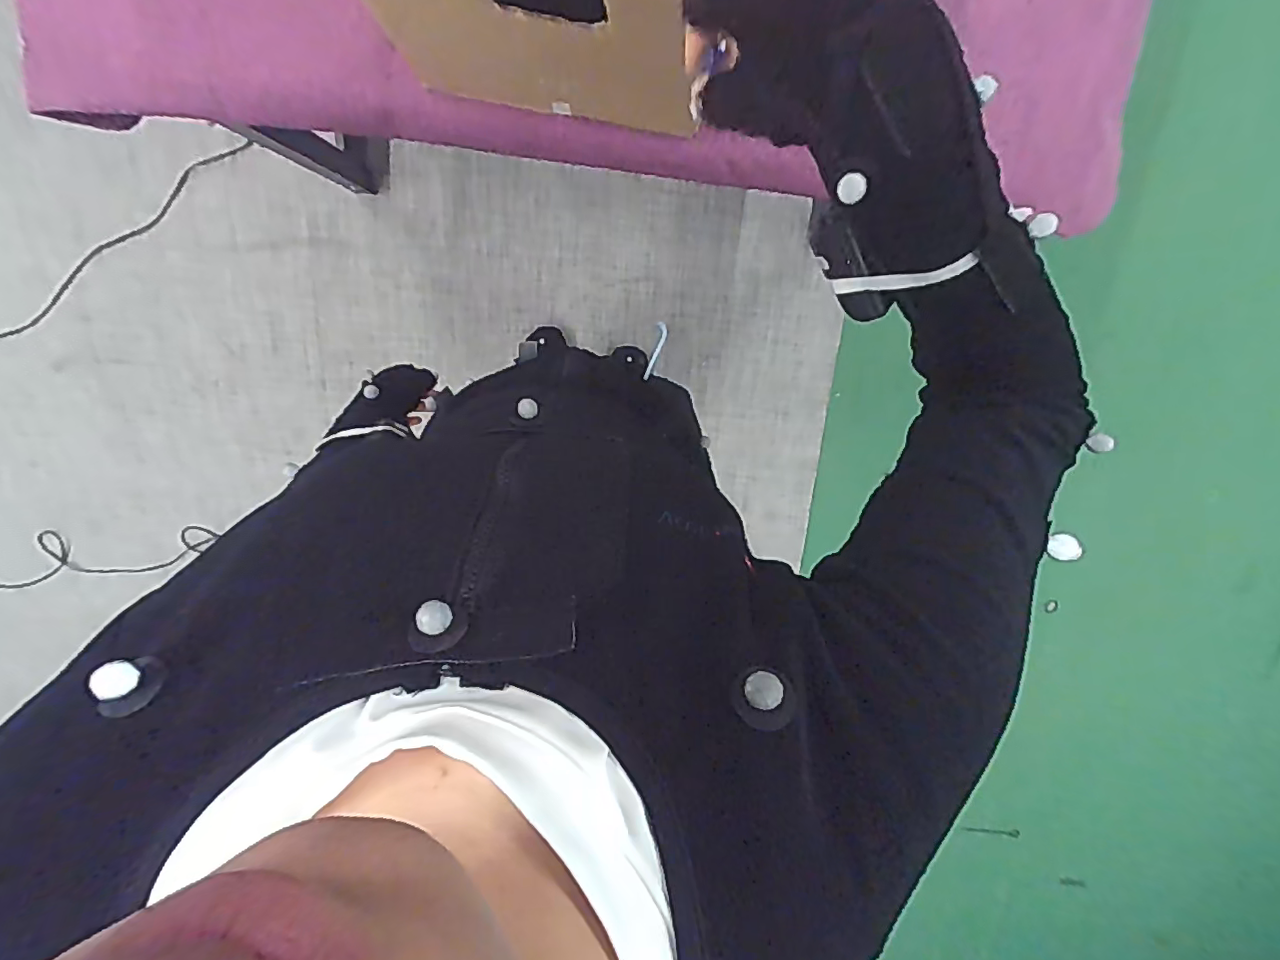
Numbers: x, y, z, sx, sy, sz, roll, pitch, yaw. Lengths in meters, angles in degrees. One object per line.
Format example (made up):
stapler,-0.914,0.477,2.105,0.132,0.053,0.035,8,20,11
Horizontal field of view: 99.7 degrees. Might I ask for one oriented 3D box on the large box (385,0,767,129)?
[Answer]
large box,-0.044,-0.579,0.433,0.320,0.320,0.408,7,106,-6
